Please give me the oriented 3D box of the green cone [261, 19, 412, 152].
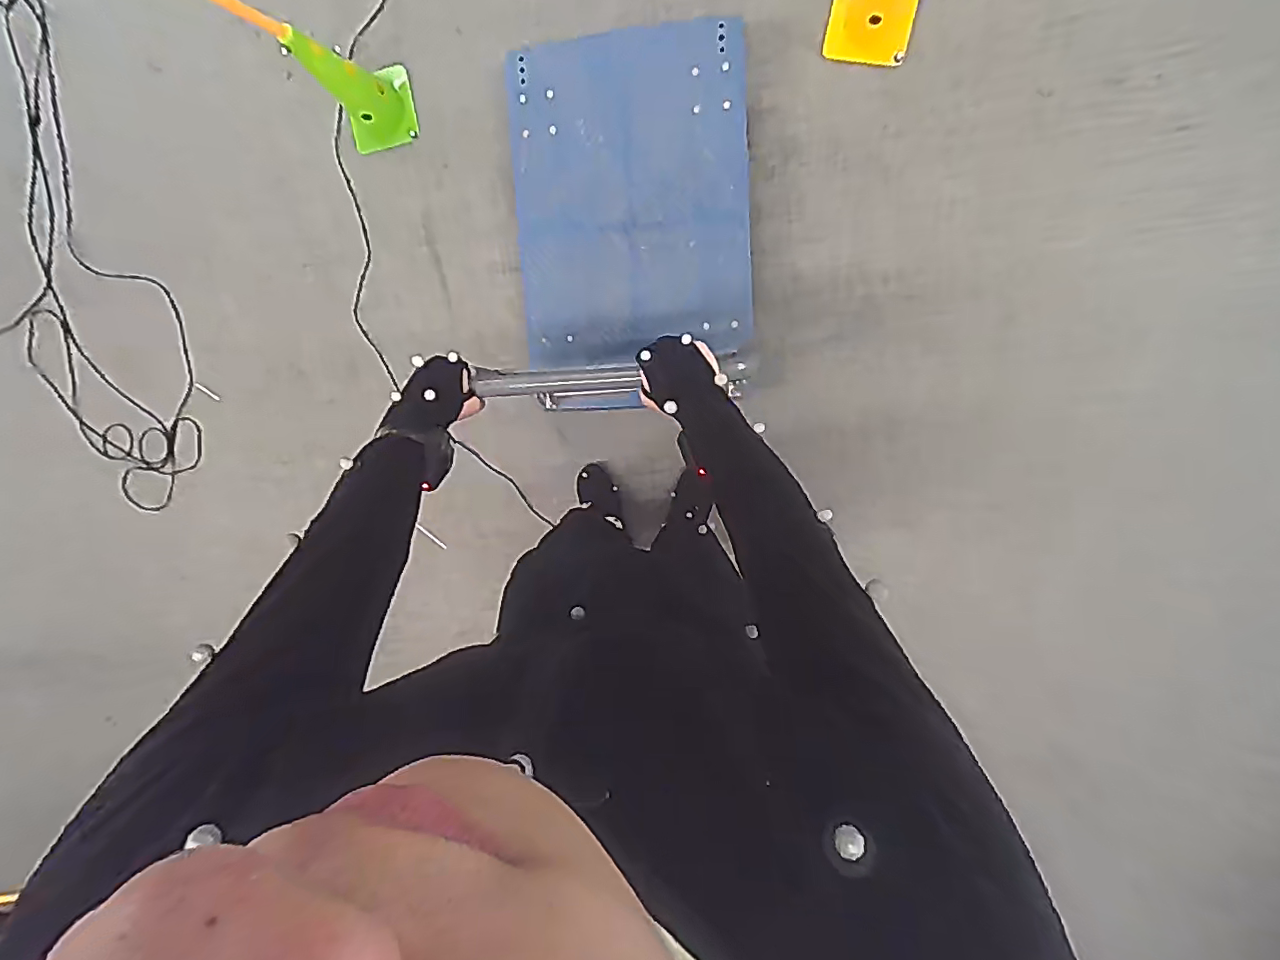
[{"bbox_3d":[-0.779,-1.025,1.357,0.202,0.368,0.200,-9,98,12],"label":"green cone"}]
